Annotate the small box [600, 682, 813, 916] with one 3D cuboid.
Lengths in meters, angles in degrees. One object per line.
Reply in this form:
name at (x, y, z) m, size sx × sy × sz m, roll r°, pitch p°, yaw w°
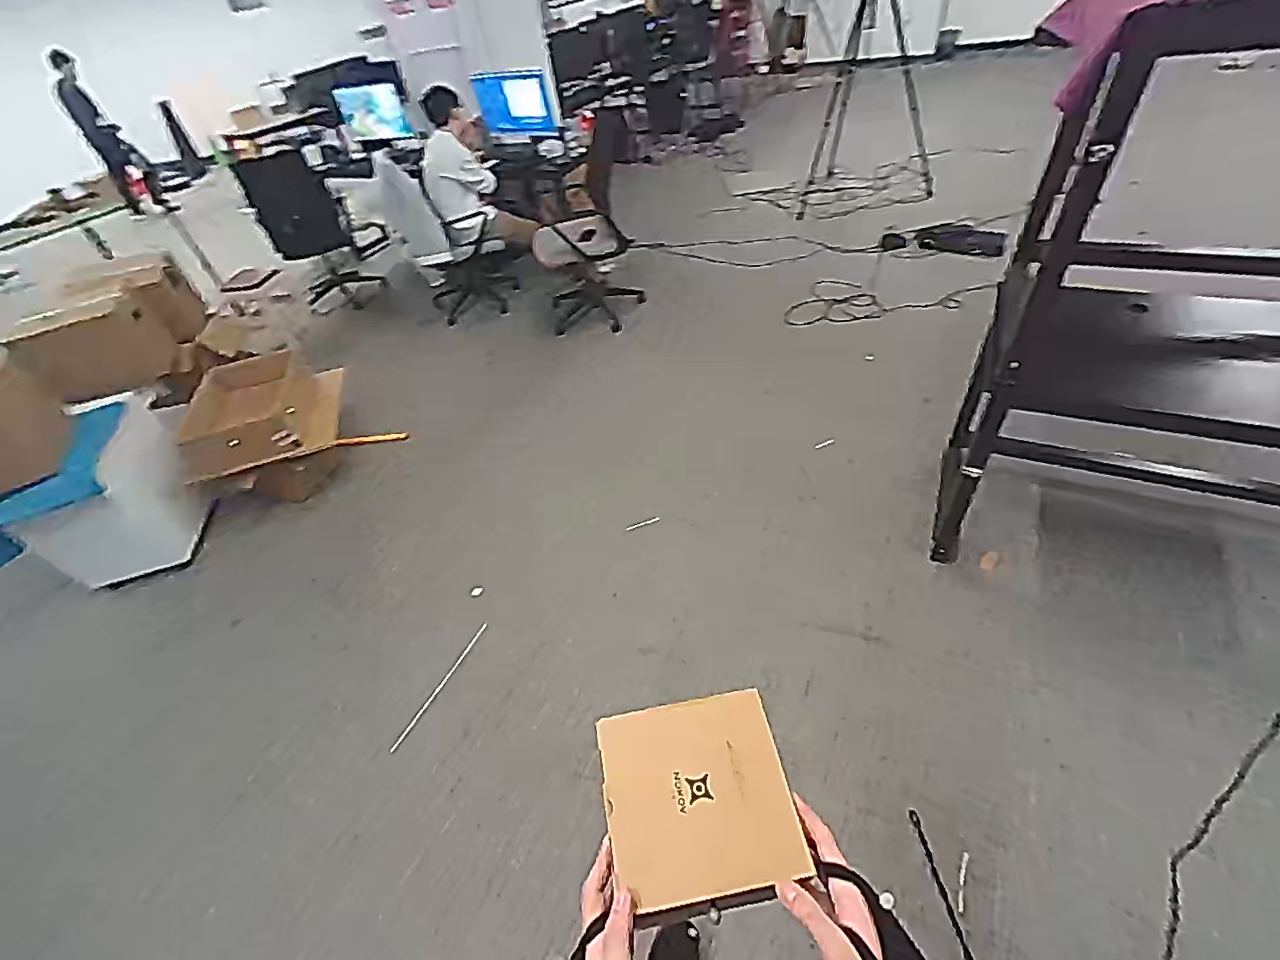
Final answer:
small box at (0.062, 0.339, 0.572) m, size 0.179 × 0.176 × 0.168 m, roll -10°, pitch 48°, yaw -2°
